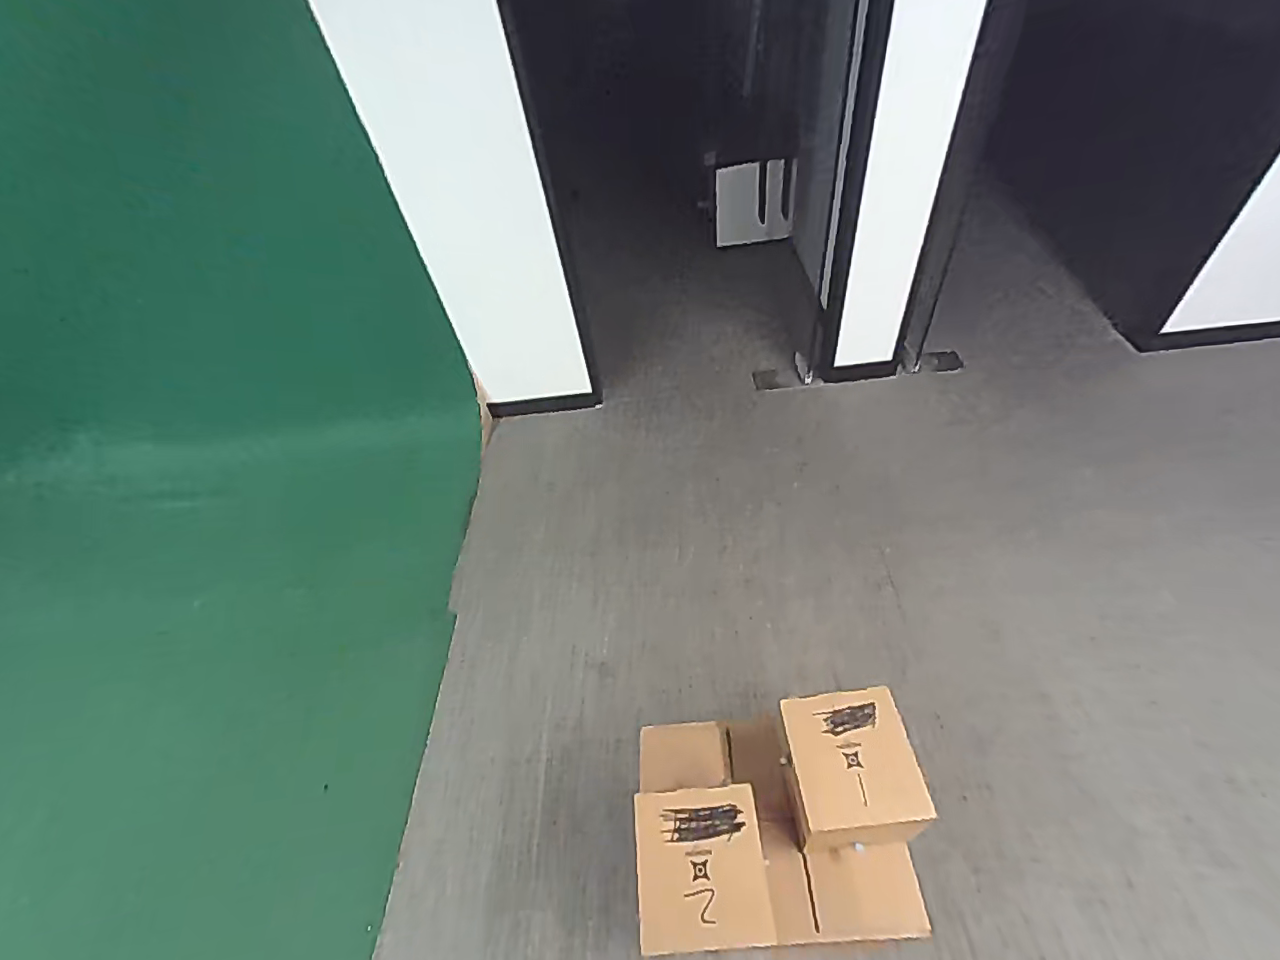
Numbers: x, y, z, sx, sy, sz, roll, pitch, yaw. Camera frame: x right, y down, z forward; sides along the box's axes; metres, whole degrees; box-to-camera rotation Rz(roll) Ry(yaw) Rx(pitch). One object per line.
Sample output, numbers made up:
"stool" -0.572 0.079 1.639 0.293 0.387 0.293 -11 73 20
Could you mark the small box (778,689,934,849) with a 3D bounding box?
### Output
"small box" 0.310 0.441 0.823 0.168 0.176 0.179 -9 49 5
